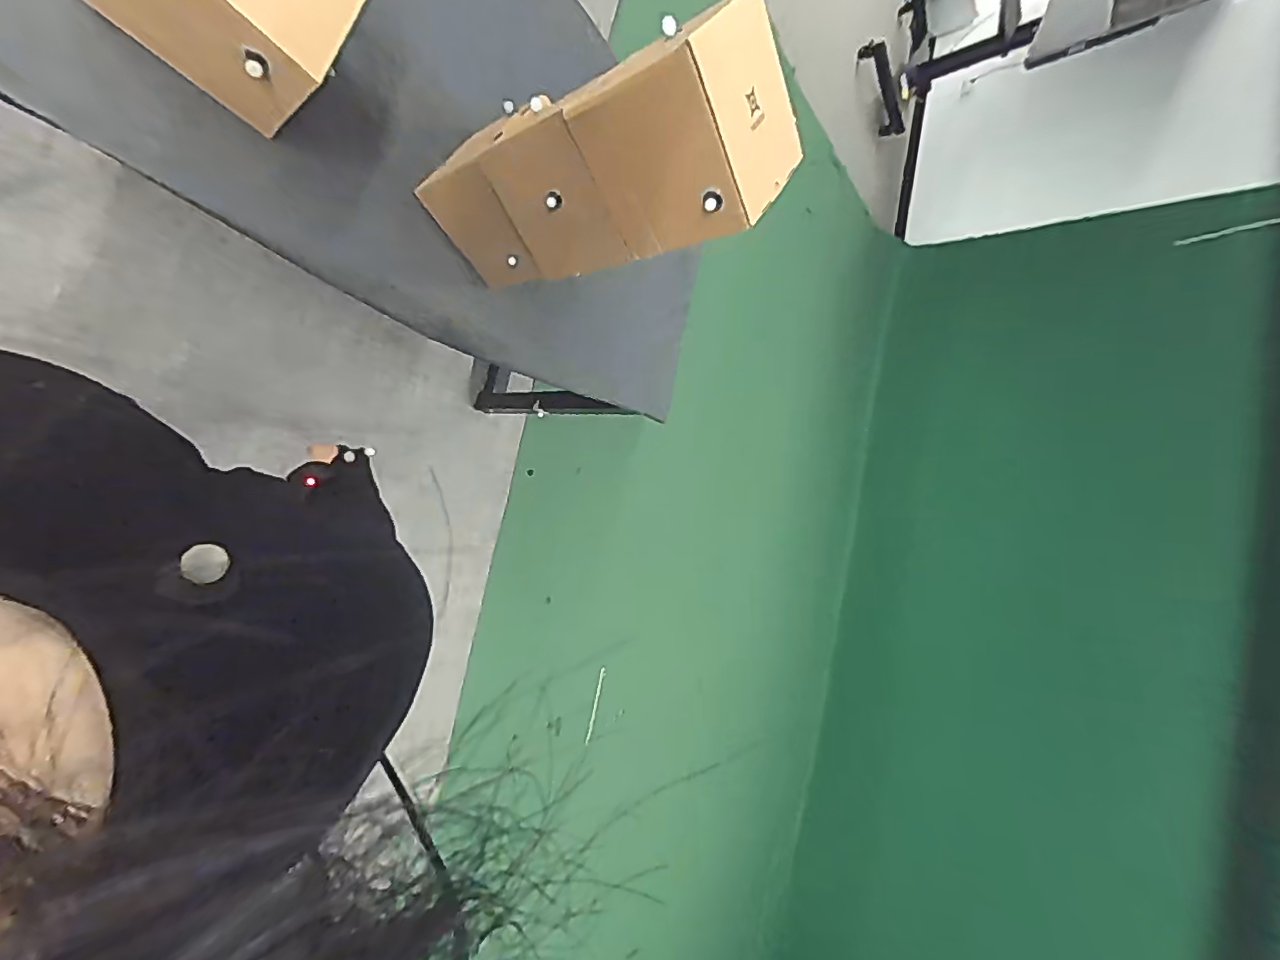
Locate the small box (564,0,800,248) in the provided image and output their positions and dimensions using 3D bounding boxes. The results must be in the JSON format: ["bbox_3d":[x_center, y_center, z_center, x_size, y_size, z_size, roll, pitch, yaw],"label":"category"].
[{"bbox_3d":[0.049,-0.386,0.593,0.168,0.176,0.179,-57,134,-28],"label":"small box"}]

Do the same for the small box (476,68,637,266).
[{"bbox_3d":[-0.071,-0.399,0.701,0.168,0.176,0.179,-55,132,-29],"label":"small box"}]

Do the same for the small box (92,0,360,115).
[{"bbox_3d":[-0.413,-0.512,0.547,0.179,0.176,0.168,31,71,-46],"label":"small box"}]
